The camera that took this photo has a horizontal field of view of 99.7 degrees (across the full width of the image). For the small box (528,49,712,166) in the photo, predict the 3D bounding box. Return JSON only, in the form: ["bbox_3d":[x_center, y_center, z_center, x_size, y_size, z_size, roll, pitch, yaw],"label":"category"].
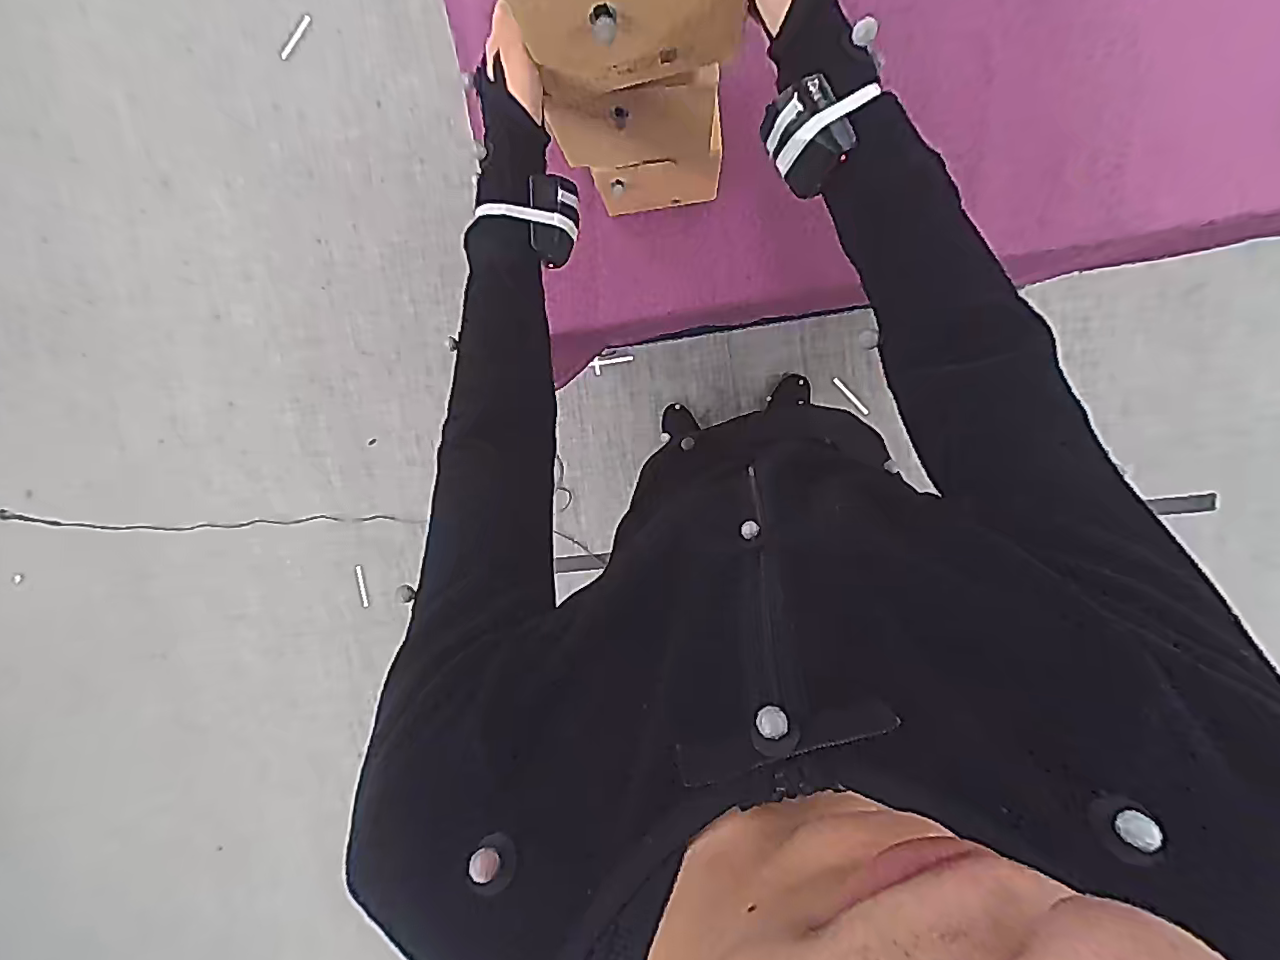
[{"bbox_3d":[-0.013,-0.457,0.577,0.179,0.176,0.168,0,99,4],"label":"small box"}]

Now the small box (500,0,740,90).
[{"bbox_3d":[-0.020,-0.413,0.377,0.168,0.176,0.179,-10,97,7],"label":"small box"}]
